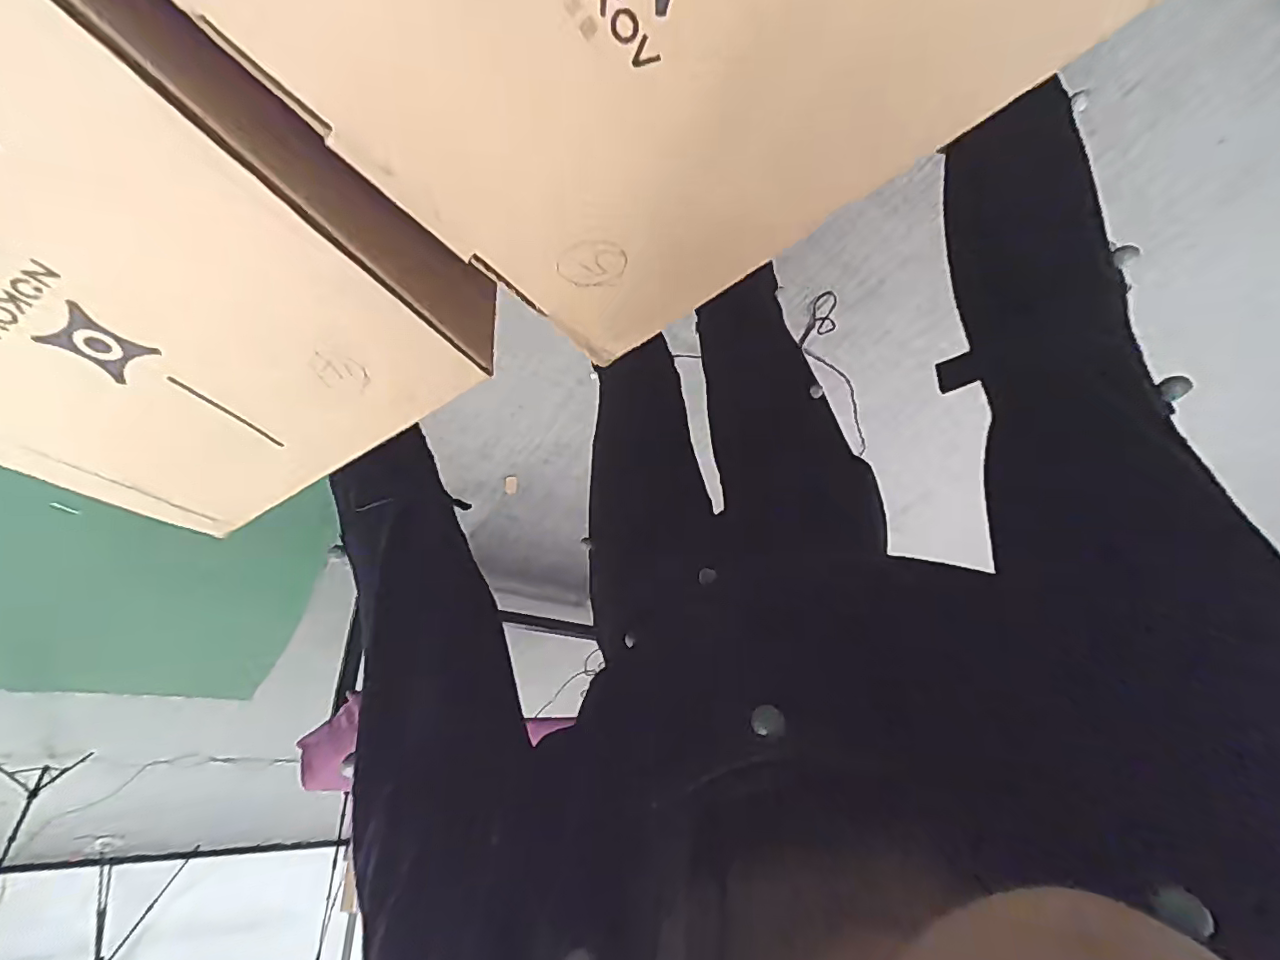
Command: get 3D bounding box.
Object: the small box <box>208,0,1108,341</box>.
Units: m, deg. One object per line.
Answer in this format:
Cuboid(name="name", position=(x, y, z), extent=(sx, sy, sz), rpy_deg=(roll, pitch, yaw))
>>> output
Cuboid(name="small box", position=(-0.006, -0.184, 0.156), extent=(0.179, 0.176, 0.168), rpy_deg=(-27, 139, 26))
